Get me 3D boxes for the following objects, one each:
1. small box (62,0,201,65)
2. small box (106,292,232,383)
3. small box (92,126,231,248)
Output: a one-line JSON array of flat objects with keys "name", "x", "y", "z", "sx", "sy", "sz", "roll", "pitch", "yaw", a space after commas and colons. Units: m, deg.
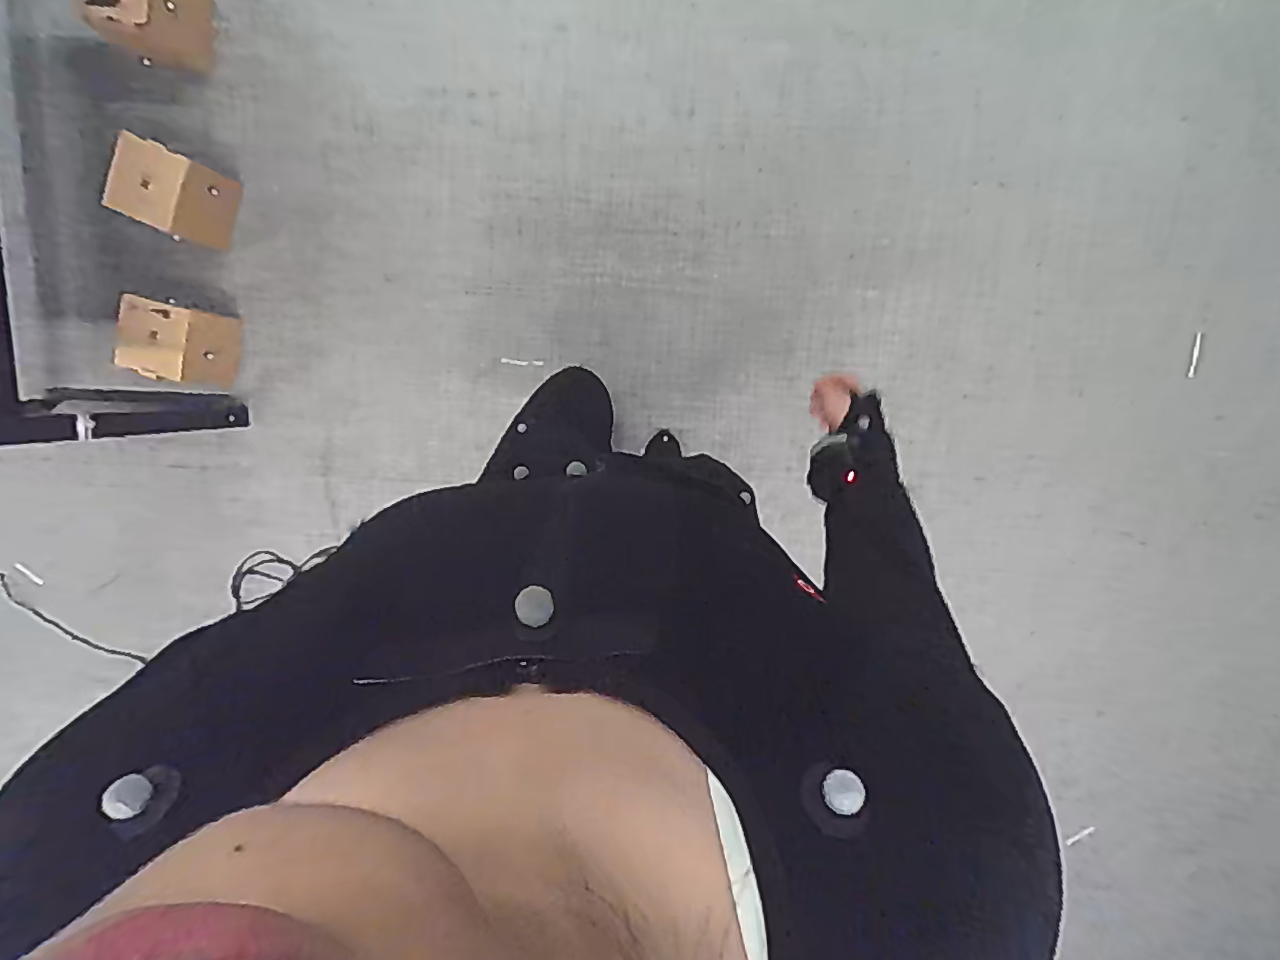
[{"name": "small box", "x": -1.141, "y": -1.088, "z": 1.223, "sx": 0.168, "sy": 0.176, "sz": 0.179, "roll": 8, "pitch": 98, "yaw": -2}, {"name": "small box", "x": -1.159, "y": -0.345, "z": 1.341, "sx": 0.168, "sy": 0.176, "sz": 0.179, "roll": 15, "pitch": 99, "yaw": -2}, {"name": "small box", "x": -1.126, "y": -0.686, "z": 1.287, "sx": 0.168, "sy": 0.176, "sz": 0.179, "roll": 23, "pitch": 100, "yaw": -3}]
